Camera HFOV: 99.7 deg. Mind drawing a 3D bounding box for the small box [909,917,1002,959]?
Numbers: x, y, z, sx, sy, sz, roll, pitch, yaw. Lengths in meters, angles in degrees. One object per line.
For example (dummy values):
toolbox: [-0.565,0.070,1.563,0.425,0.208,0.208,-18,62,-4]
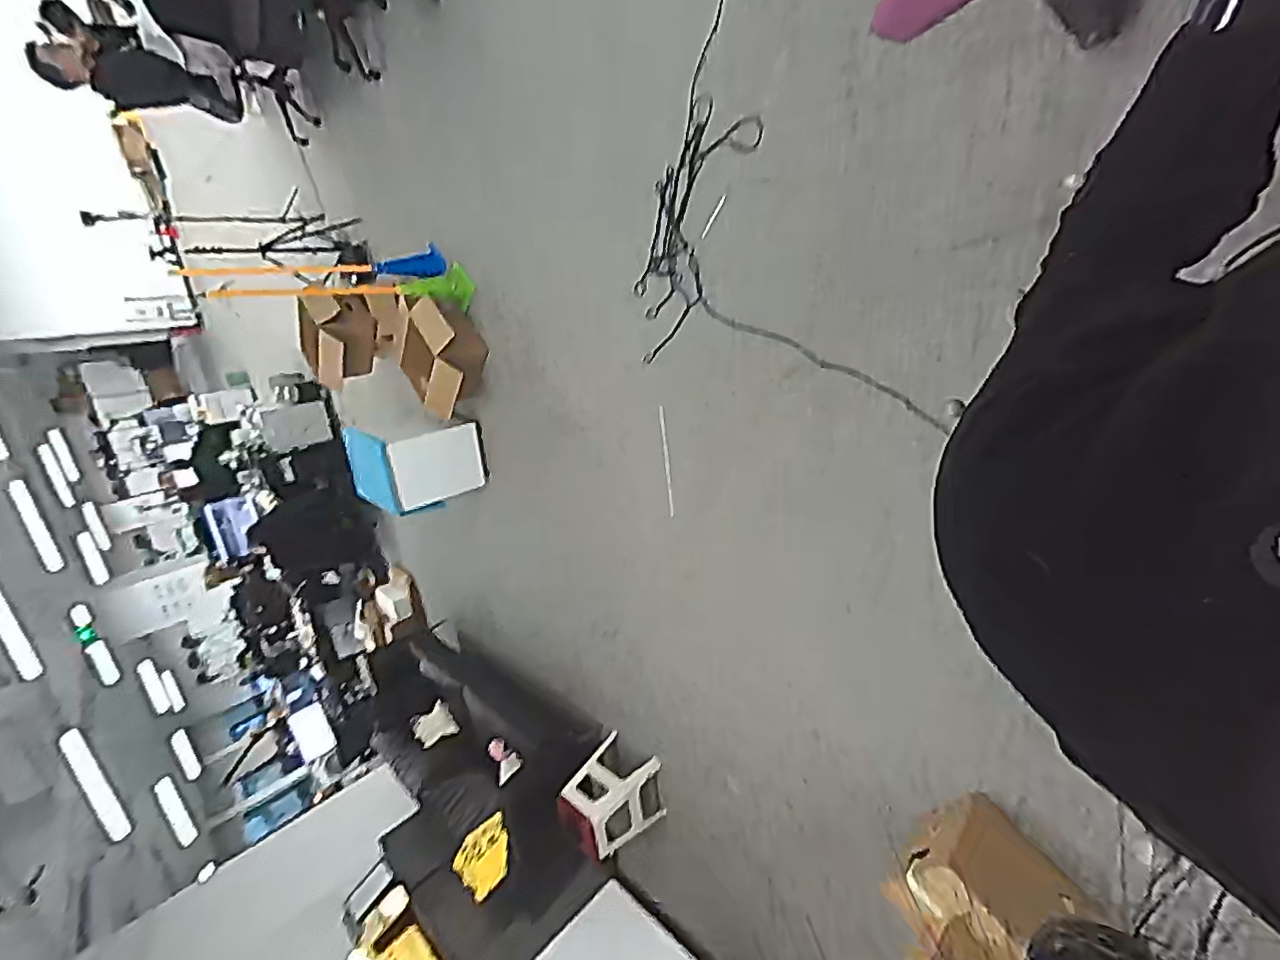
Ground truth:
small box: [0.835,1.301,1.422,0.179,0.176,0.168,43,135,27]
